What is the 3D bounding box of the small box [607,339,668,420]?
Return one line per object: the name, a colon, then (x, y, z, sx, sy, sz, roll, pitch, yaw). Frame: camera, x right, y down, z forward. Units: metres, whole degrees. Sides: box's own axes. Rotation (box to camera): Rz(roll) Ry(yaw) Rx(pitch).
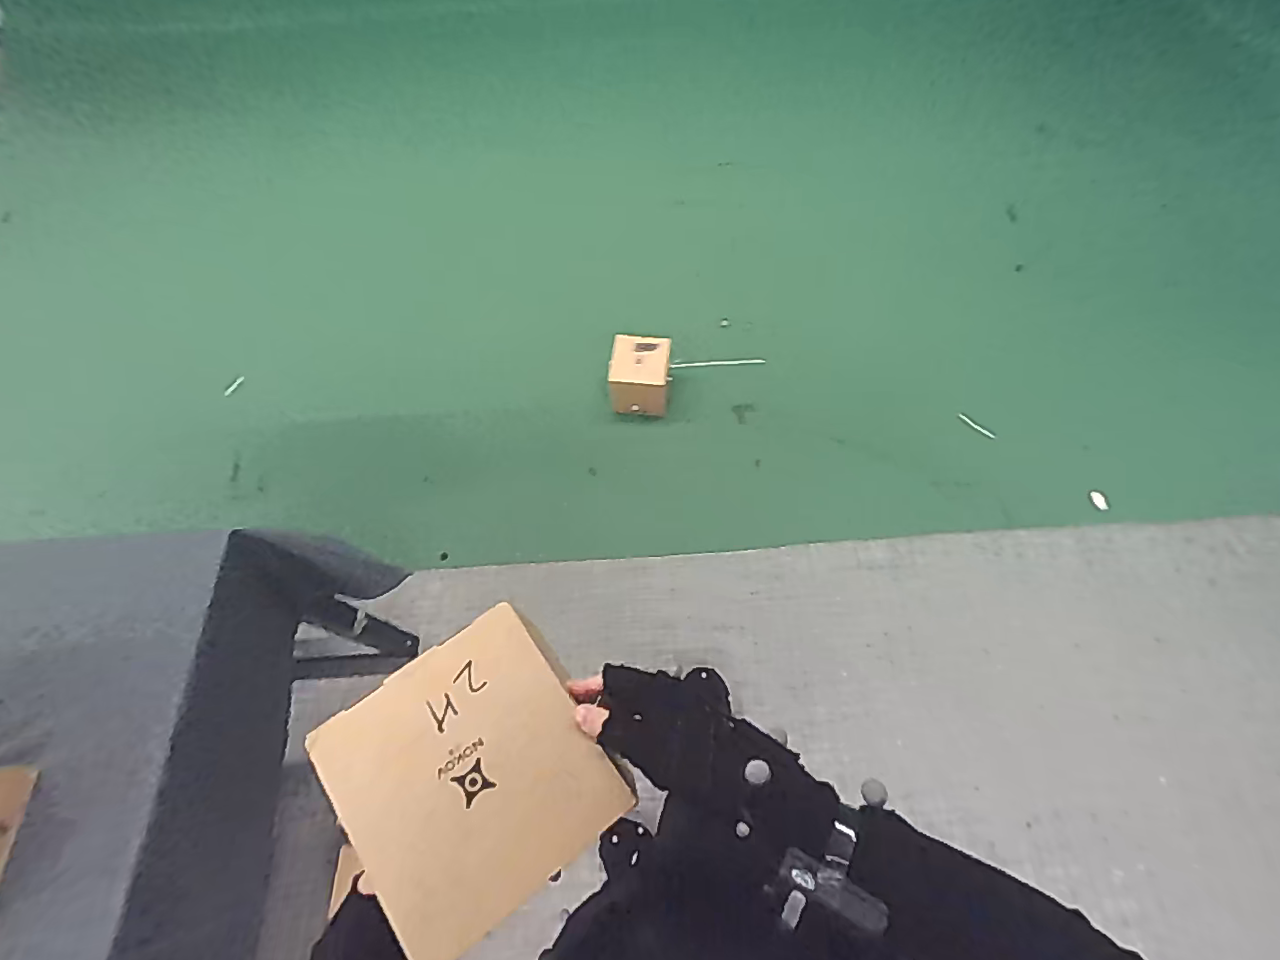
small box: (-0.005, -0.309, 1.676, 0.168, 0.176, 0.179, 6, 64, 5)
